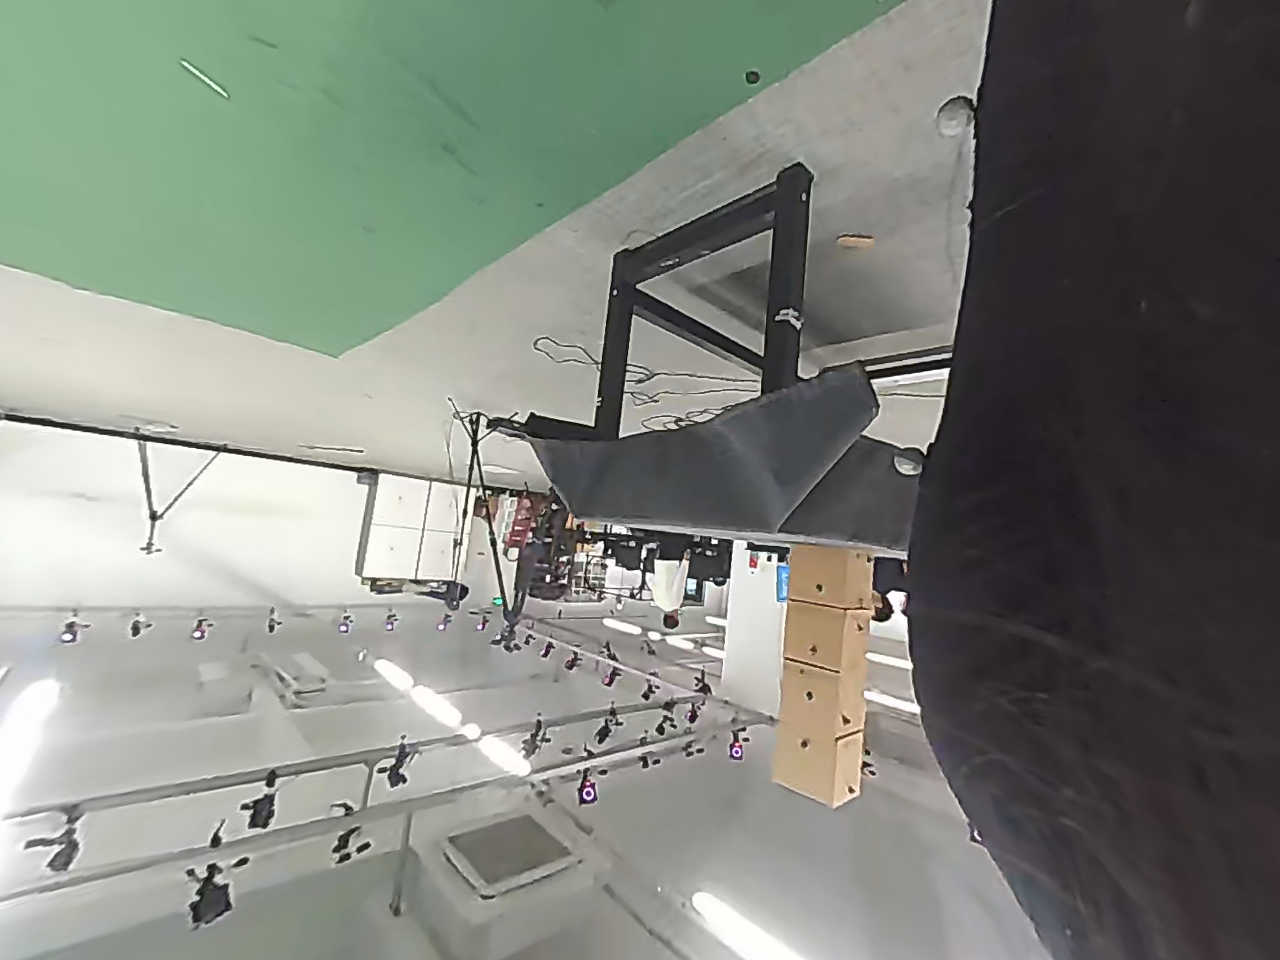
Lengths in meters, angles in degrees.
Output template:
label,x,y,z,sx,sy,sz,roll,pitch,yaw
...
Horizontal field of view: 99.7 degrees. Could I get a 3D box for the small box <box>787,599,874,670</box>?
label,x,y,z,sx,sy,sz,roll,pitch,yaw
small box,0.539,0.425,1.522,0.168,0.176,0.179,13,170,-42

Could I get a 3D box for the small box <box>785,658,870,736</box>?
label,x,y,z,sx,sy,sz,roll,pitch,yaw
small box,0.522,0.588,1.499,0.179,0.176,0.168,13,171,-43

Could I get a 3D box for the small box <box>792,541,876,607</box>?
label,x,y,z,sx,sy,sz,roll,pitch,yaw
small box,0.557,0.266,1.542,0.168,0.176,0.179,12,172,-41

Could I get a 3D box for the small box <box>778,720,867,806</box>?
label,x,y,z,sx,sy,sz,roll,pitch,yaw
small box,0.501,0.749,1.476,0.179,0.176,0.168,0,170,45
